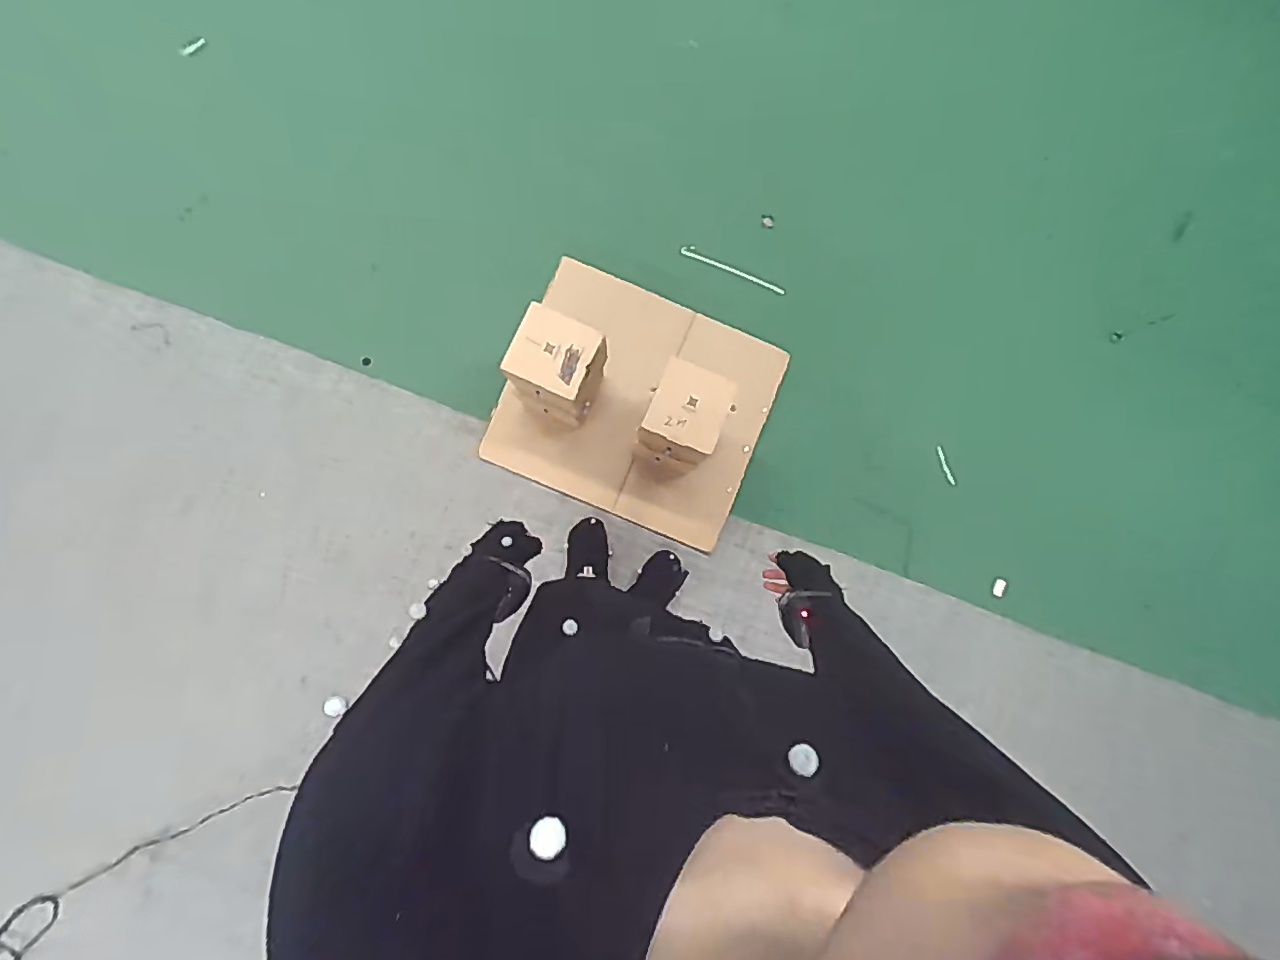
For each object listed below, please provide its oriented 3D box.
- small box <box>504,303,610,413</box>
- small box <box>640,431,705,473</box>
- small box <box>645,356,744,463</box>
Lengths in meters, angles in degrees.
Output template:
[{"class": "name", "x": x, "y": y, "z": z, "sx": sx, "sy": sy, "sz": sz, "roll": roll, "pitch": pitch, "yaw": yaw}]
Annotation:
[{"class": "small box", "x": -0.177, "y": -0.265, "z": 1.226, "sx": 0.179, "sy": 0.176, "sz": 0.168, "roll": 25, "pitch": 85, "yaw": 2}, {"class": "small box", "x": 0.102, "y": -0.130, "z": 1.399, "sx": 0.168, "sy": 0.176, "sz": 0.179, "roll": 21, "pitch": 86, "yaw": -1}, {"class": "small box", "x": 0.115, "y": -0.153, "z": 1.235, "sx": 0.168, "sy": 0.176, "sz": 0.179, "roll": 23, "pitch": 86, "yaw": 0}]
